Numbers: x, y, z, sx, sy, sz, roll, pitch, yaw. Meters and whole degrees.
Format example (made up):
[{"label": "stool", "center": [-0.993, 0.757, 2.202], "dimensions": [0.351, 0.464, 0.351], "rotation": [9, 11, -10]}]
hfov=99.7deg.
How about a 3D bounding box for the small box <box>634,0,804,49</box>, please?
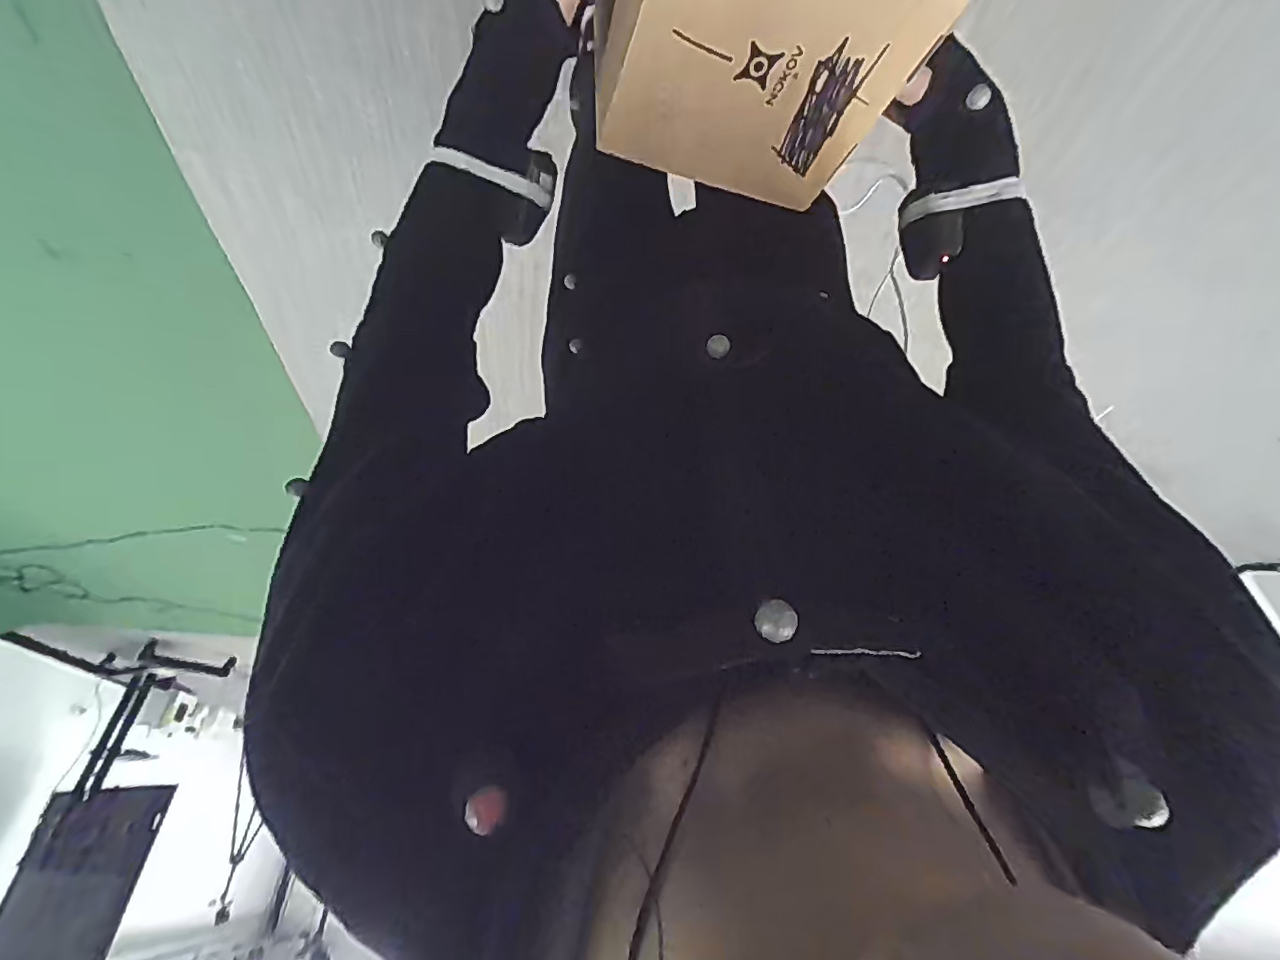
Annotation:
[{"label": "small box", "center": [0.065, -0.494, 0.415], "dimensions": [0.179, 0.176, 0.168], "rotation": [4, 160, -16]}]
